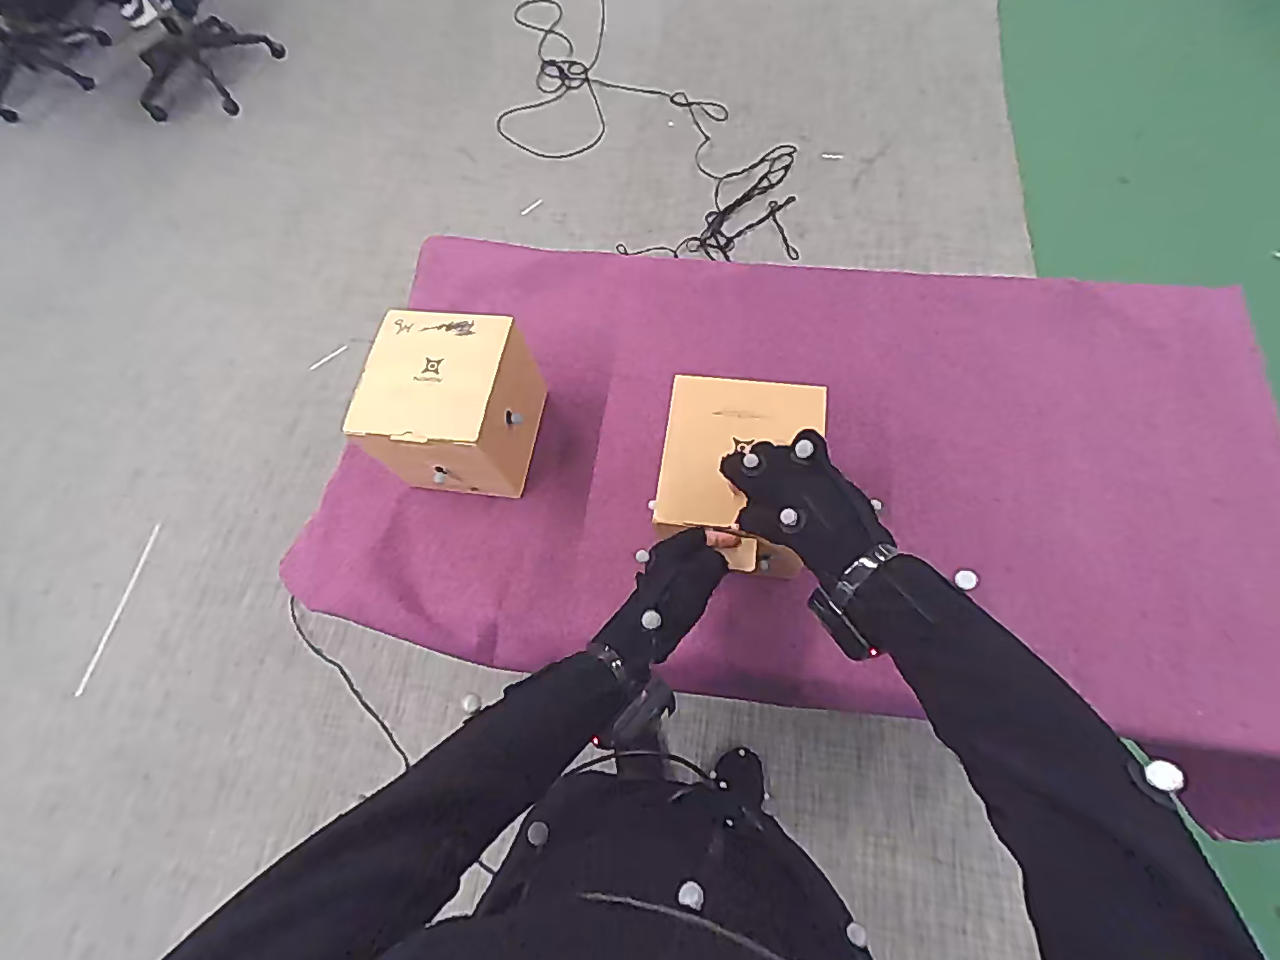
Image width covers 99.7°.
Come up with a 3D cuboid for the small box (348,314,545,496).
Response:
[{"bbox_3d":[-0.234,-0.089,0.706,0.168,0.176,0.179,6,68,8],"label":"small box"}]

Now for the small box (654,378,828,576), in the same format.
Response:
[{"bbox_3d":[0.115,0.005,0.632,0.168,0.176,0.179,6,68,8],"label":"small box"}]
